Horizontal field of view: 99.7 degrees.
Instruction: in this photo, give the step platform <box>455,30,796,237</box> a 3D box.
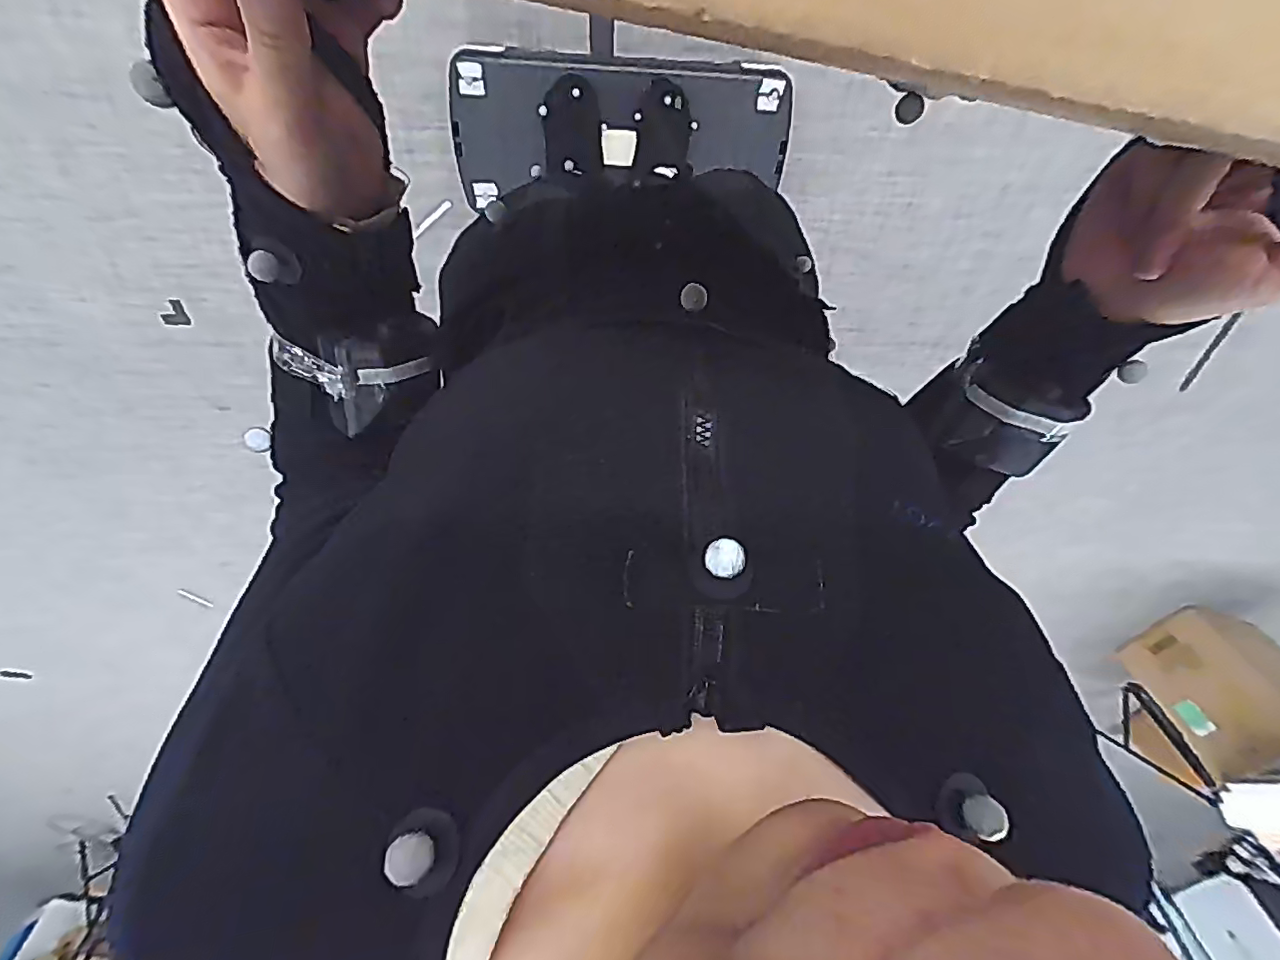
[{"bbox_3d":[-0.031,-0.716,1.141,0.684,0.204,0.286,4,129,-8],"label":"step platform"}]
